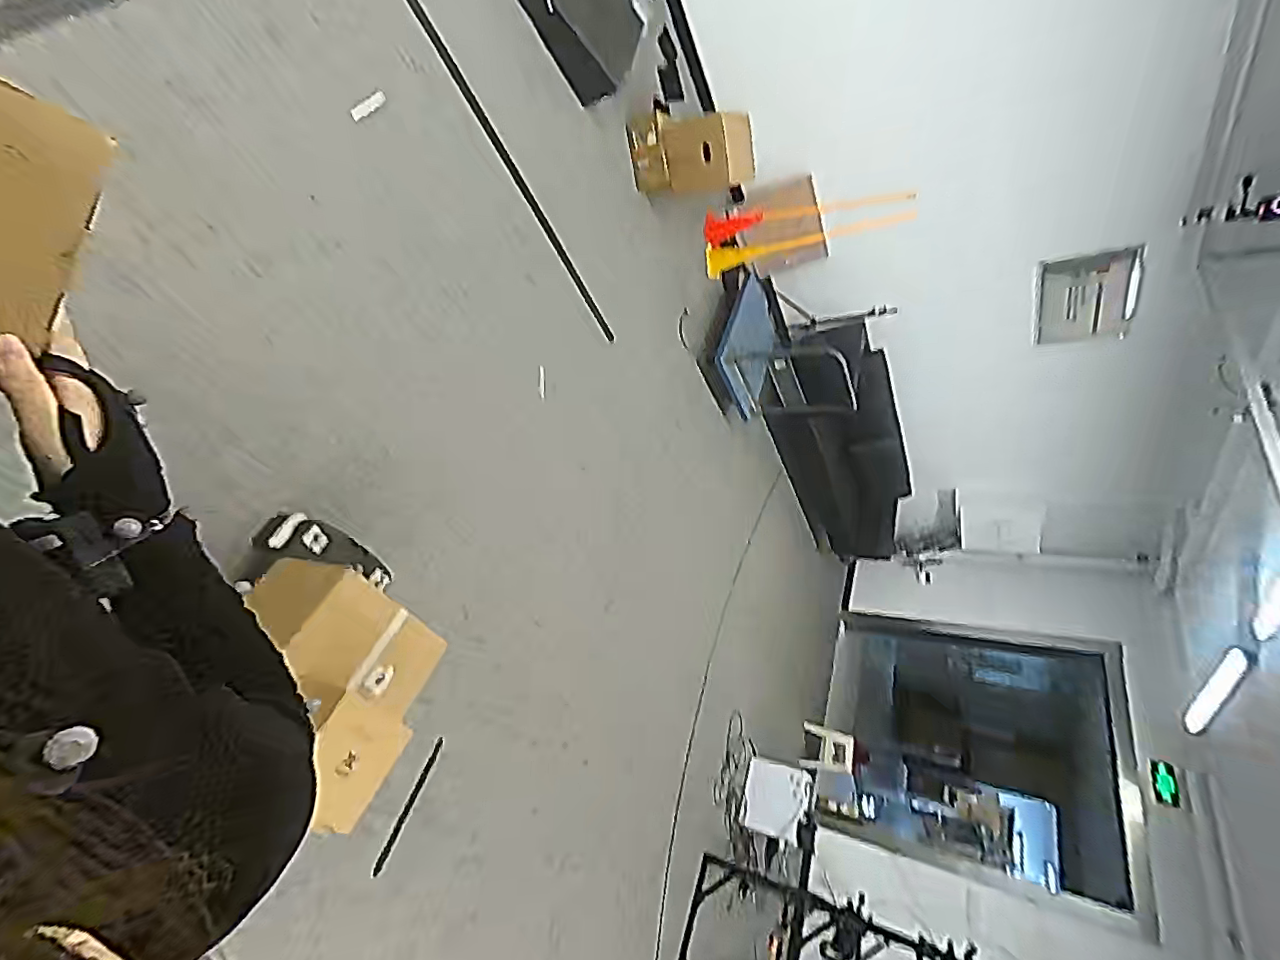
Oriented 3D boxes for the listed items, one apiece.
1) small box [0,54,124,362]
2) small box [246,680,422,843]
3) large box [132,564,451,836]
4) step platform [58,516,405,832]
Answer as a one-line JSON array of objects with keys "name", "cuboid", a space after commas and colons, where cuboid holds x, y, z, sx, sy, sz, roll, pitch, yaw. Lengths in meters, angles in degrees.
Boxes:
[{"name": "small box", "cuboid": [-0.437, -0.183, 0.272, 0.168, 0.176, 0.179, -63, 165, 8]}, {"name": "small box", "cuboid": [-0.522, 0.469, 0.919, 0.168, 0.176, 0.179, 60, 43, -35]}, {"name": "large box", "cuboid": [-0.687, 0.428, 1.114, 0.320, 0.320, 0.408, 59, 43, -38]}, {"name": "step platform", "cuboid": [-0.877, 0.409, 1.258, 0.286, 0.204, 0.684, 60, 42, -36]}]
